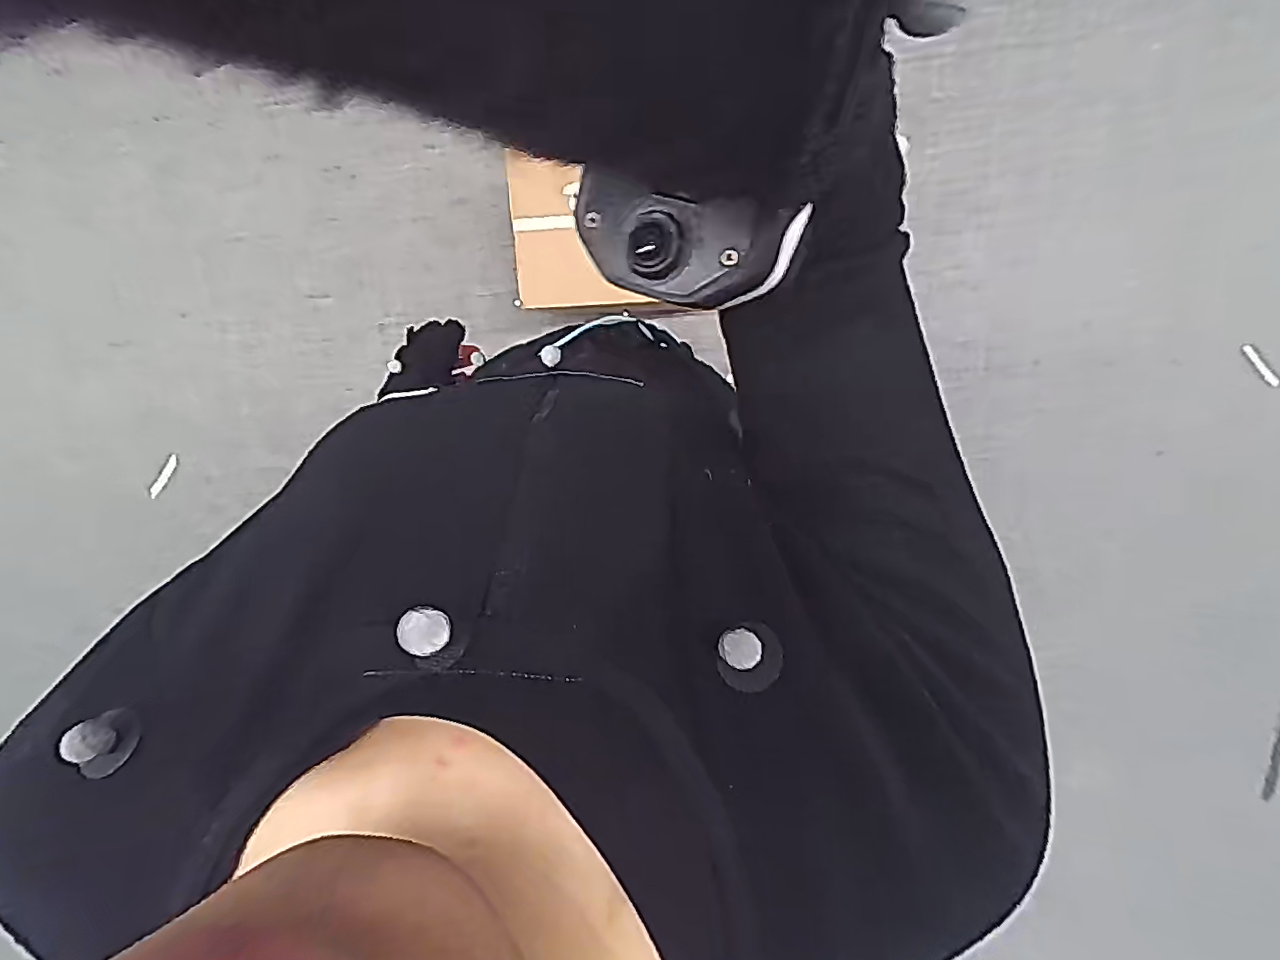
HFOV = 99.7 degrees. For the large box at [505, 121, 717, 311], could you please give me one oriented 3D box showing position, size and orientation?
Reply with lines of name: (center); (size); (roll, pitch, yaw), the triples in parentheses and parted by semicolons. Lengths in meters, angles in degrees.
large box: (-0.044, -0.553, 1.201); (0.408, 0.320, 0.320); (-2, 104, 3)
